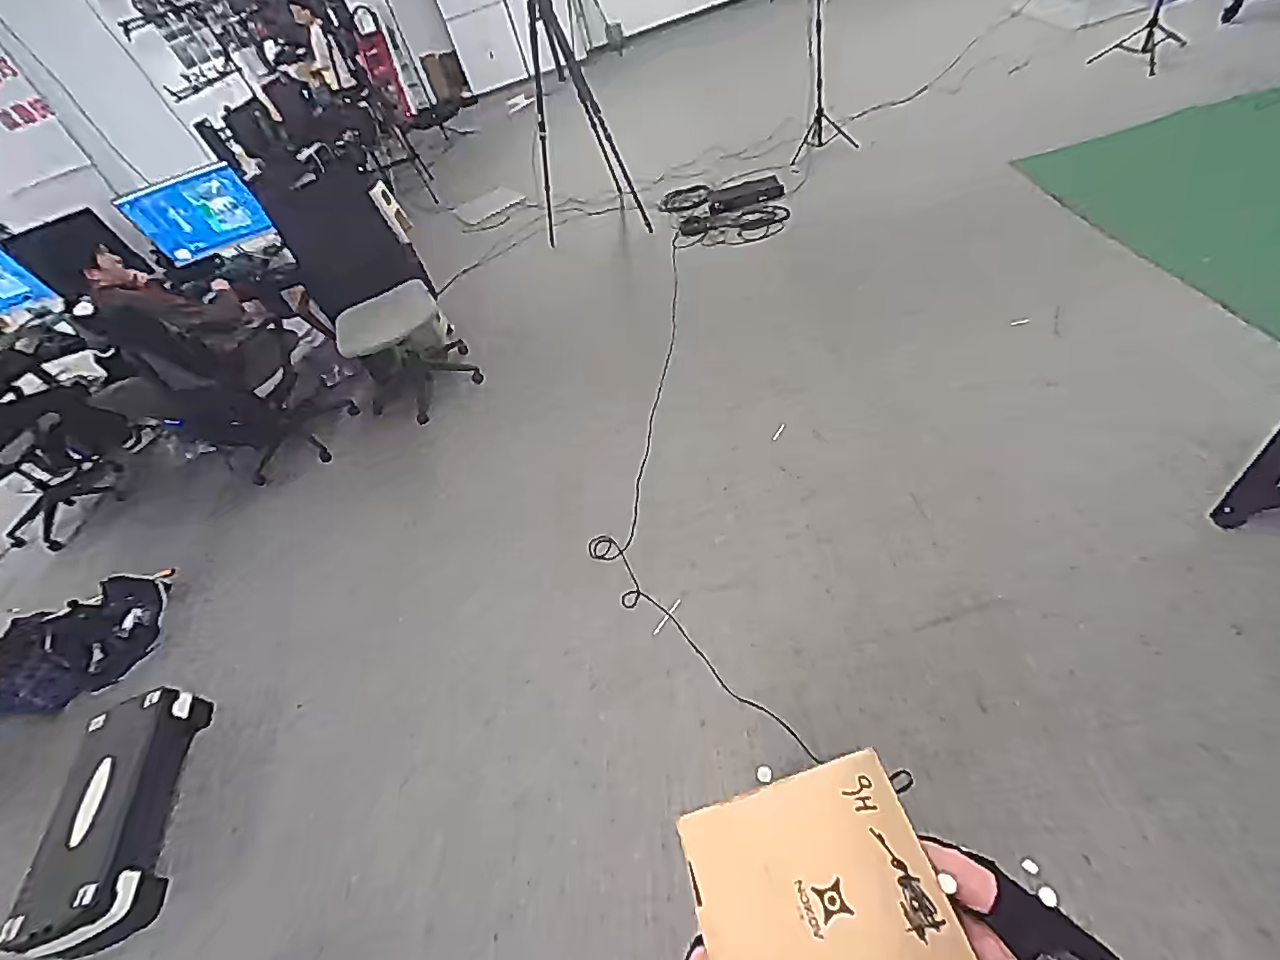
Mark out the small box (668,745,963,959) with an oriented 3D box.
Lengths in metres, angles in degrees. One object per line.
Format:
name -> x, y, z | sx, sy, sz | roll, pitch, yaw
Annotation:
small box -> 0.141, 0.349, 0.471 | 0.179, 0.176, 0.168 | -19, 58, 1
